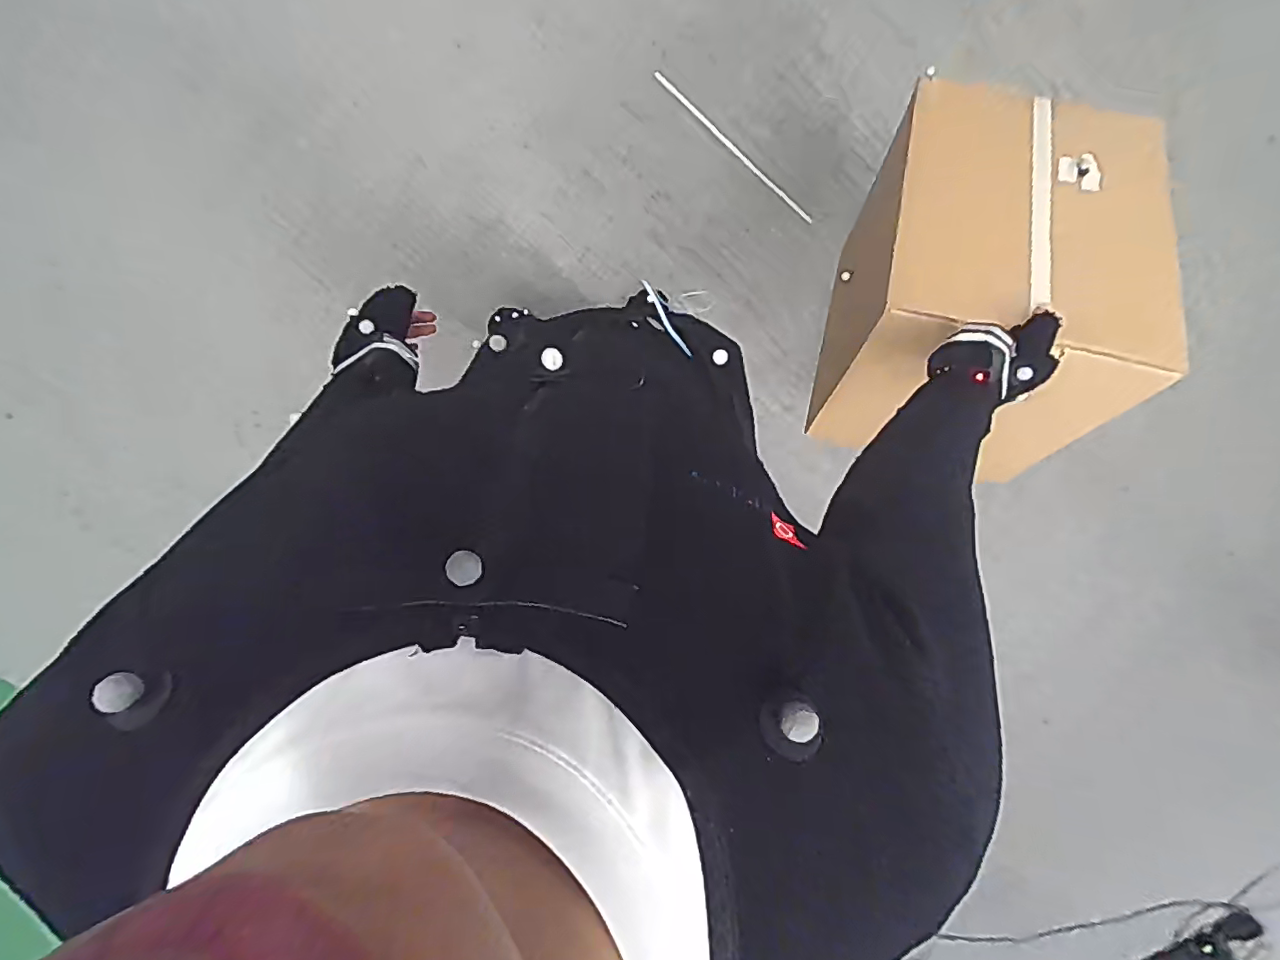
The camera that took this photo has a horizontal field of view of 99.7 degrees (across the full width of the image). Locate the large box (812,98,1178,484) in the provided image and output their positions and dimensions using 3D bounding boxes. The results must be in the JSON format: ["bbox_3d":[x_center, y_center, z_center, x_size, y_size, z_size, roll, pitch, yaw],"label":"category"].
[{"bbox_3d":[0.474,-0.257,0.796,0.320,0.320,0.408,16,68,4],"label":"large box"}]
